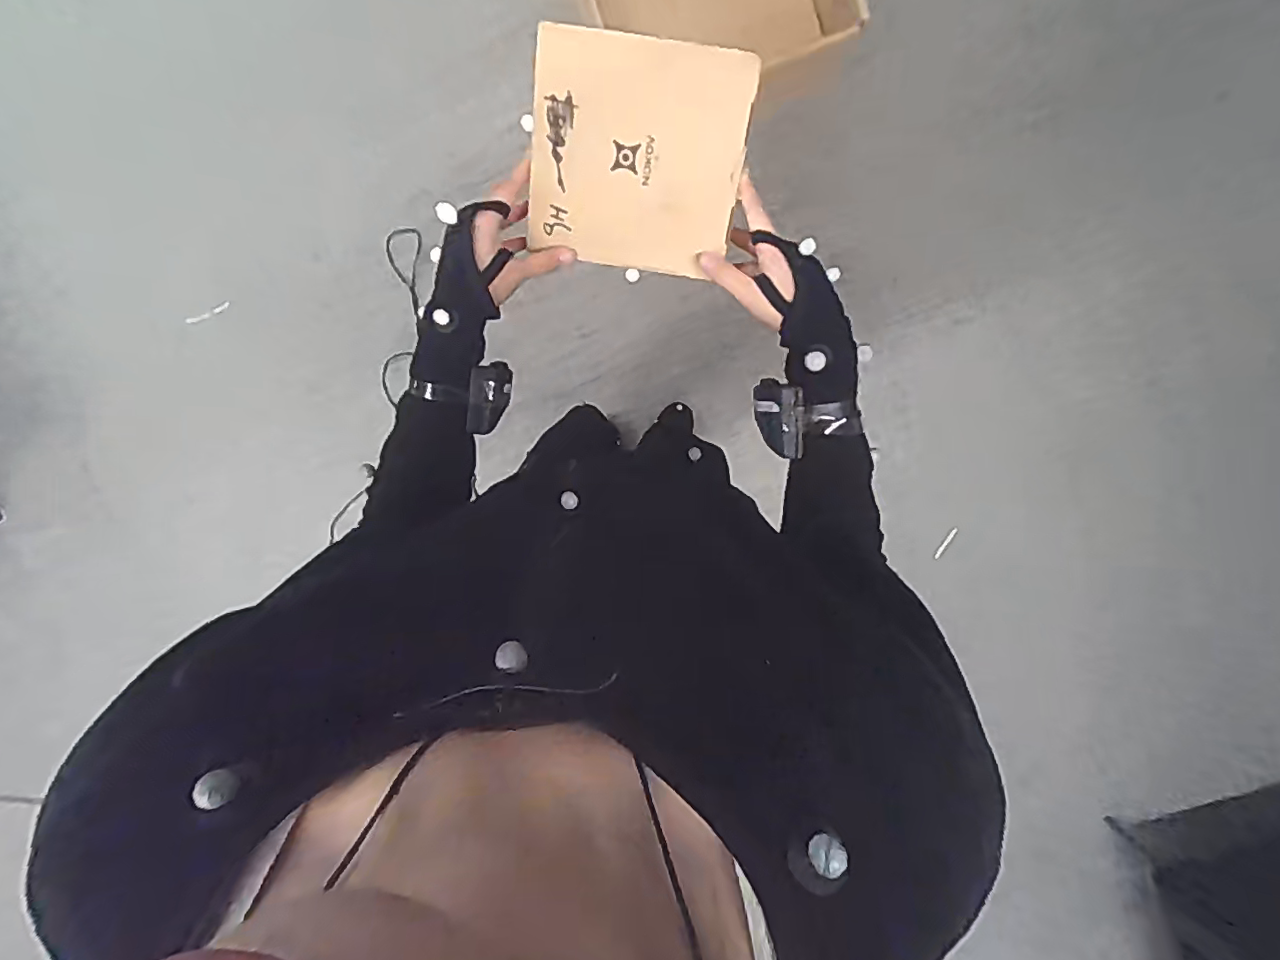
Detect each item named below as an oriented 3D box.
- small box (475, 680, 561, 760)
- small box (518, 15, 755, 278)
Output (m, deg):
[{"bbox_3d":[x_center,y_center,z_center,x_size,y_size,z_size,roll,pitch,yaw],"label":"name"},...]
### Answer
[{"bbox_3d":[-0.334,0.697,1.530,0.179,0.176,0.168,-21,96,5],"label":"small box"},{"bbox_3d":[-0.006,-0.292,0.512,0.179,0.176,0.168,8,111,-1],"label":"small box"}]
